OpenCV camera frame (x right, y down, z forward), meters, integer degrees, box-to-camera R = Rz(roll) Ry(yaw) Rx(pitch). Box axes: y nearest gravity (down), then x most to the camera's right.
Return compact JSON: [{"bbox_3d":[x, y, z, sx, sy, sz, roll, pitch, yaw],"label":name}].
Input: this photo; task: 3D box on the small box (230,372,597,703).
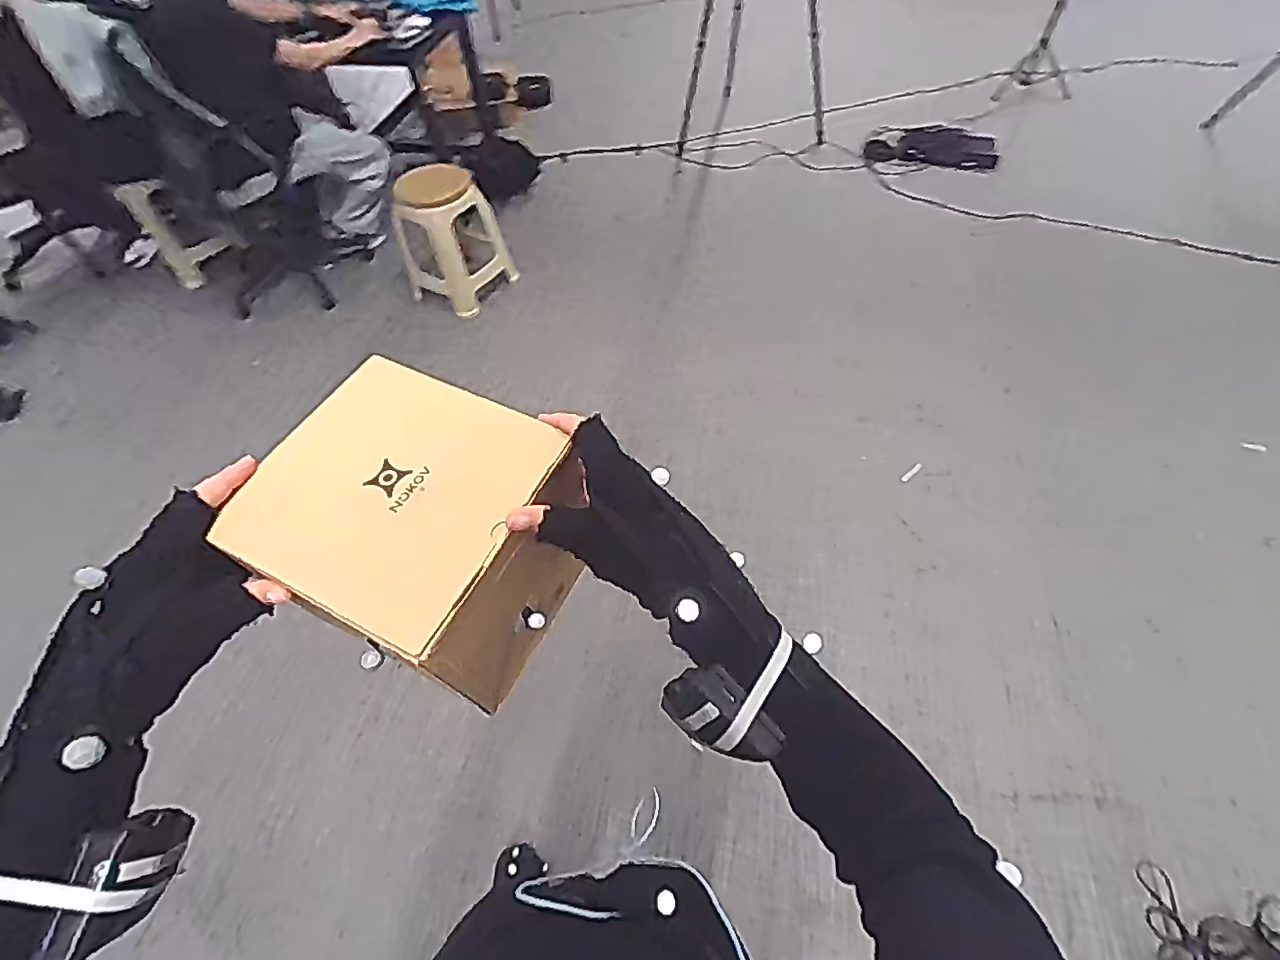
[{"bbox_3d":[-0.149,0.052,0.425,0.179,0.176,0.168,23,60,14],"label":"small box"}]
